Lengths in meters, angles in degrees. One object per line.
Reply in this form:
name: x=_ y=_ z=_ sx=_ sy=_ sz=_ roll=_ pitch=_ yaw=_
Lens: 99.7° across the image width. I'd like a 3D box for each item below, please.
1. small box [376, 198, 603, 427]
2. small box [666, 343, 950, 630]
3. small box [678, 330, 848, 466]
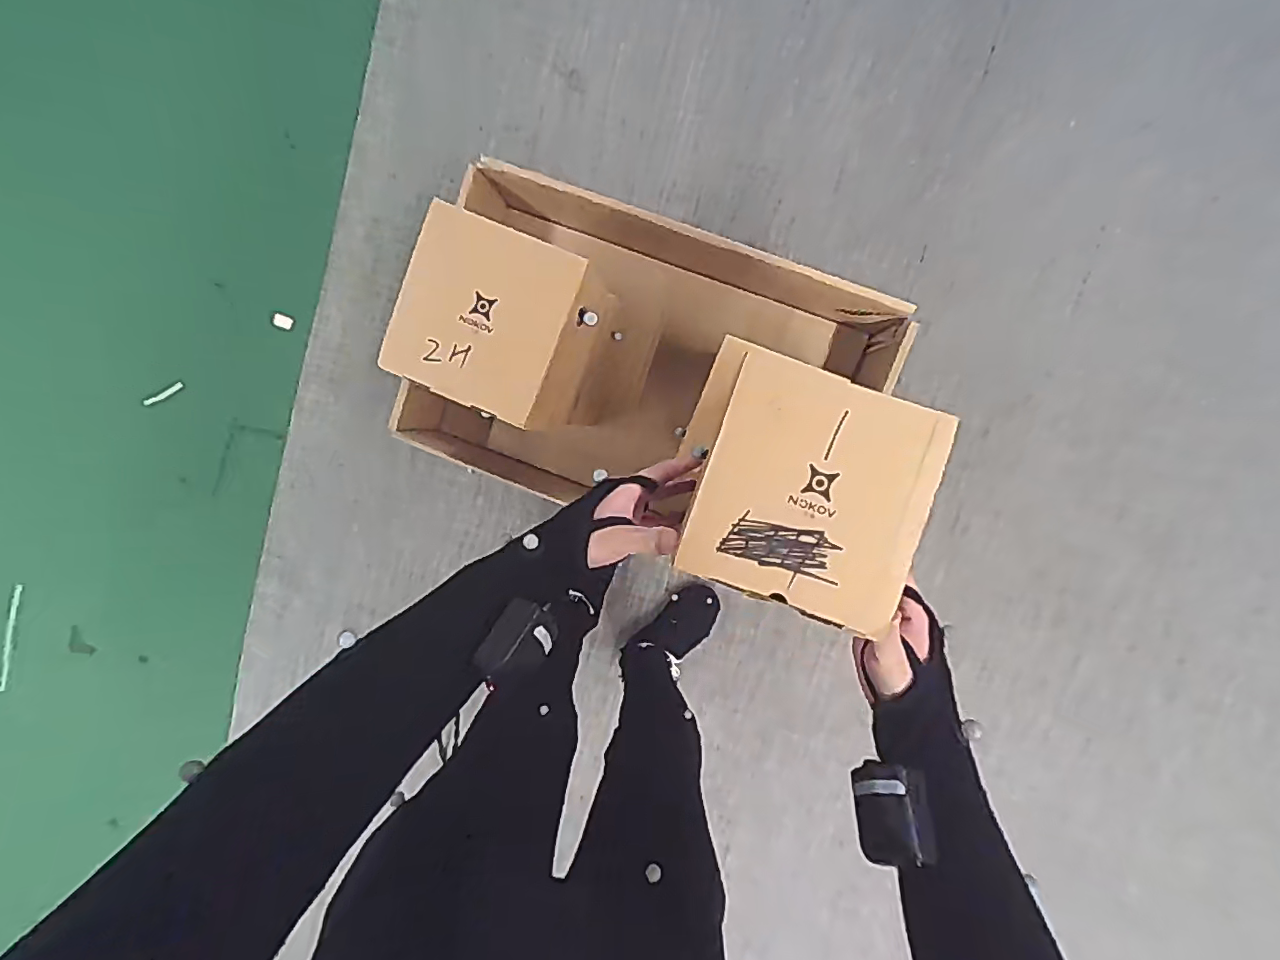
small box: x=-0.150 y=-0.170 z=0.604 sx=0.168 sy=0.176 sz=0.179 roll=23 pitch=98 yaw=4
small box: x=0.130 y=0.006 z=0.481 sx=0.168 sy=0.176 sz=0.179 roll=19 pitch=89 yaw=4
small box: x=0.157 y=-0.086 z=0.750 sx=0.168 sy=0.176 sz=0.179 roll=21 pitch=99 yaw=3
